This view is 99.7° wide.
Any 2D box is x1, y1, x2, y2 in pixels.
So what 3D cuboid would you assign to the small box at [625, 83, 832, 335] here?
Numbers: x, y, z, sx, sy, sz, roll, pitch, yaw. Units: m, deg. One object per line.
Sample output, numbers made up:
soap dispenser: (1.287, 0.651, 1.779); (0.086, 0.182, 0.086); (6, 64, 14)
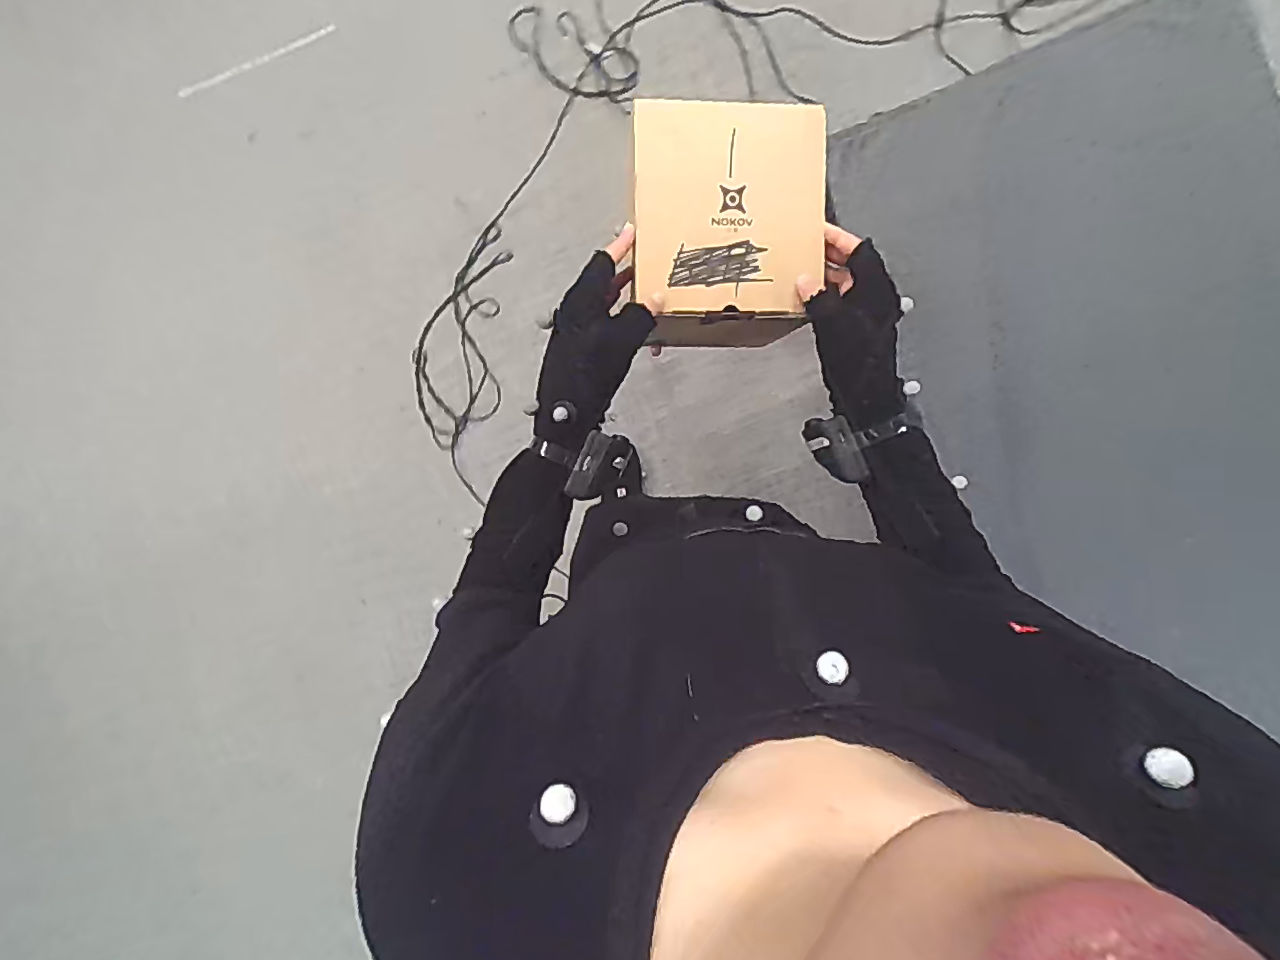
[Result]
small box: (0.073, -0.244, 0.533); (0.168, 0.176, 0.179); (0, 94, -4)
